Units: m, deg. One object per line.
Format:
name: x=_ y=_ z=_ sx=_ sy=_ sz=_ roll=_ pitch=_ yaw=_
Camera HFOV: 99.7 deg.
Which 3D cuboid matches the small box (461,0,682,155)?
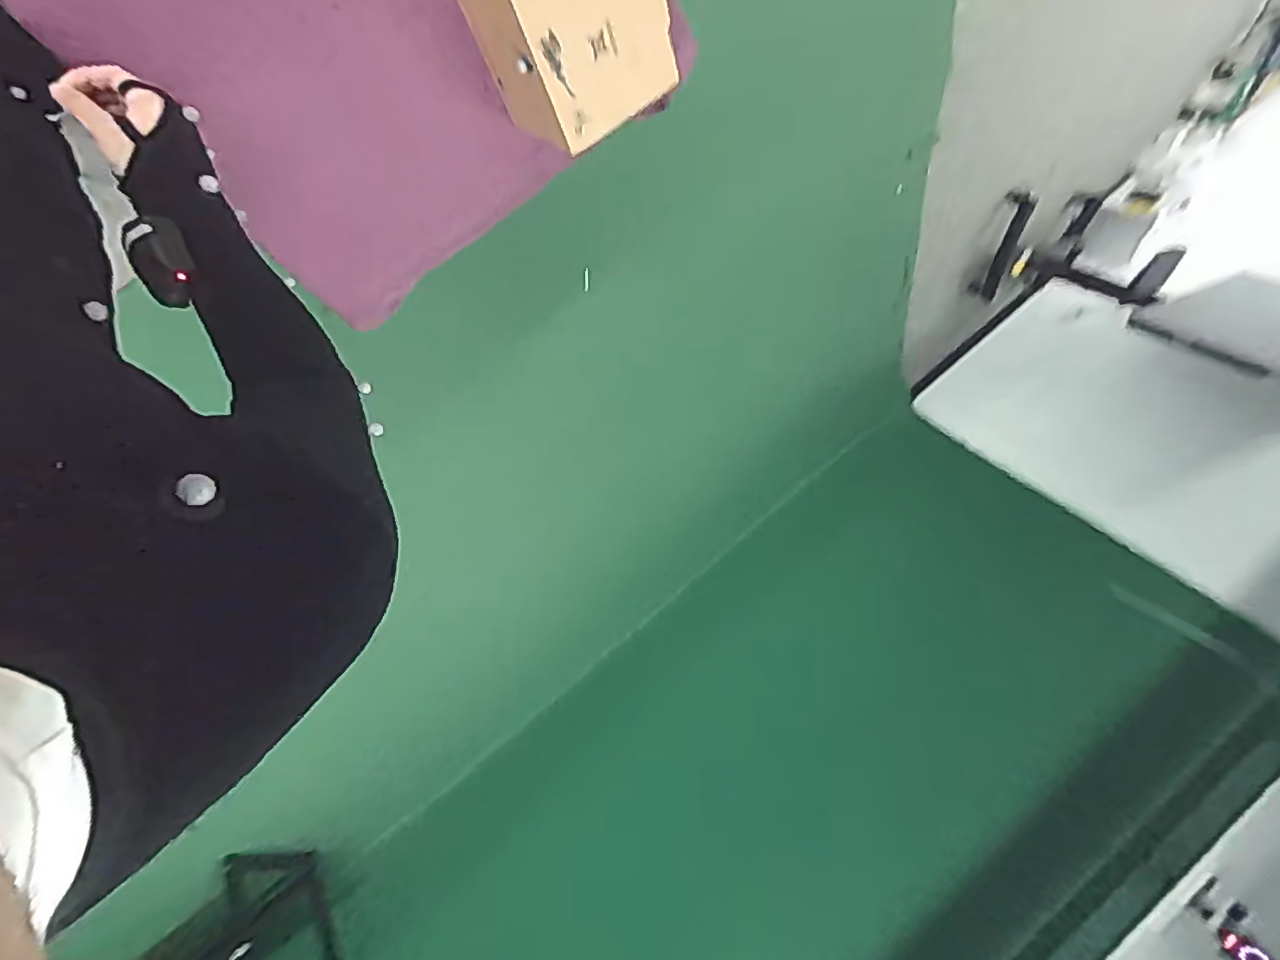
small box: x=-0.080 y=-0.538 z=0.653 sx=0.179 sy=0.176 sz=0.168 roll=-39 pitch=143 yaw=-6
